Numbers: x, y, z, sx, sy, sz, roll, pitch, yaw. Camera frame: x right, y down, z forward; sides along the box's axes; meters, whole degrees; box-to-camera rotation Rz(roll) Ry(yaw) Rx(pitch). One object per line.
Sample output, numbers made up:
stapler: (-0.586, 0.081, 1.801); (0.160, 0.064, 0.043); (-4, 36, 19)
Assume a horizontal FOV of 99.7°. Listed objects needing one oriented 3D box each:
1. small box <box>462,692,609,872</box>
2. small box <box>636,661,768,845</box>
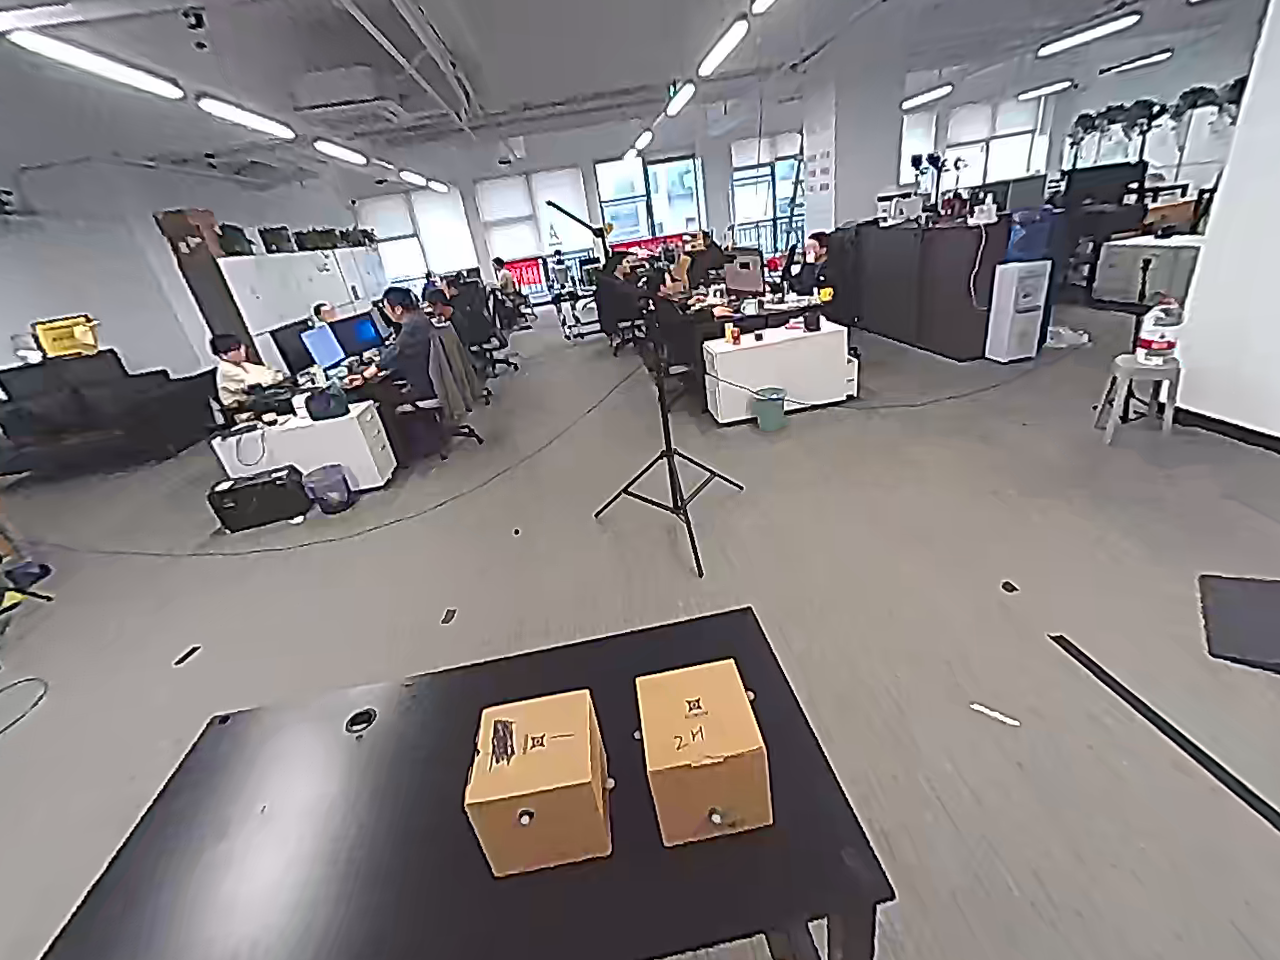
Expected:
small box: (-0.150, 0.462, 0.831); (0.179, 0.176, 0.168); (-10, 25, -2)
small box: (0.091, 0.417, 0.839); (0.168, 0.176, 0.179); (-11, 25, -1)
